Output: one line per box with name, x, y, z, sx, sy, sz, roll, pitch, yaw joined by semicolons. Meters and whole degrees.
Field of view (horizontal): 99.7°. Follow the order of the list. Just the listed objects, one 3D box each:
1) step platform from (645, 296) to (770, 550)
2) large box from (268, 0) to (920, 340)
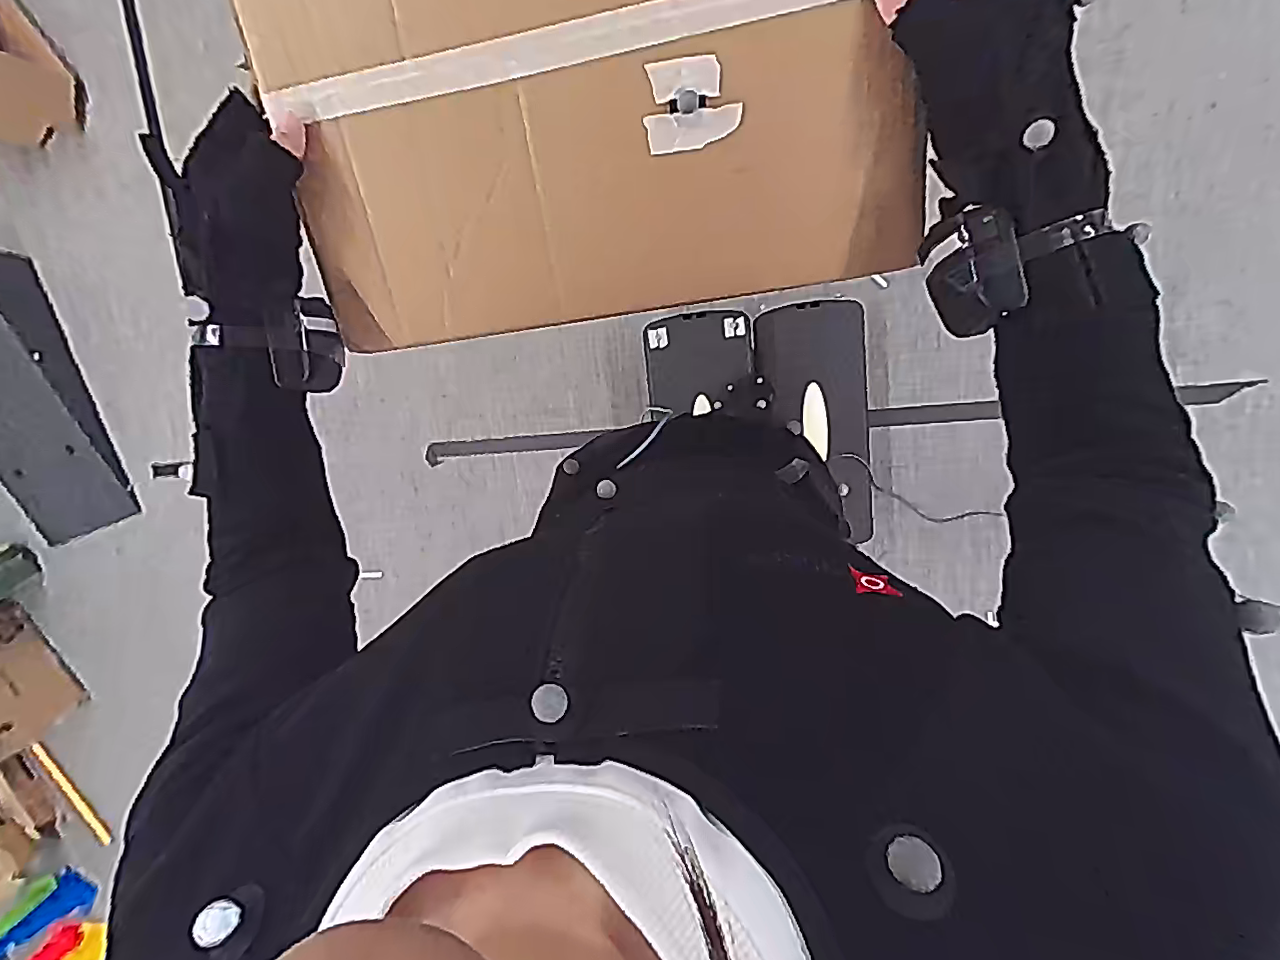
step platform;0.190;-0.149;1.498;0.286;0.204;0.684;-5;97;12
large box;-0.022;-0.322;0.475;0.408;0.320;0.320;-6;110;8
